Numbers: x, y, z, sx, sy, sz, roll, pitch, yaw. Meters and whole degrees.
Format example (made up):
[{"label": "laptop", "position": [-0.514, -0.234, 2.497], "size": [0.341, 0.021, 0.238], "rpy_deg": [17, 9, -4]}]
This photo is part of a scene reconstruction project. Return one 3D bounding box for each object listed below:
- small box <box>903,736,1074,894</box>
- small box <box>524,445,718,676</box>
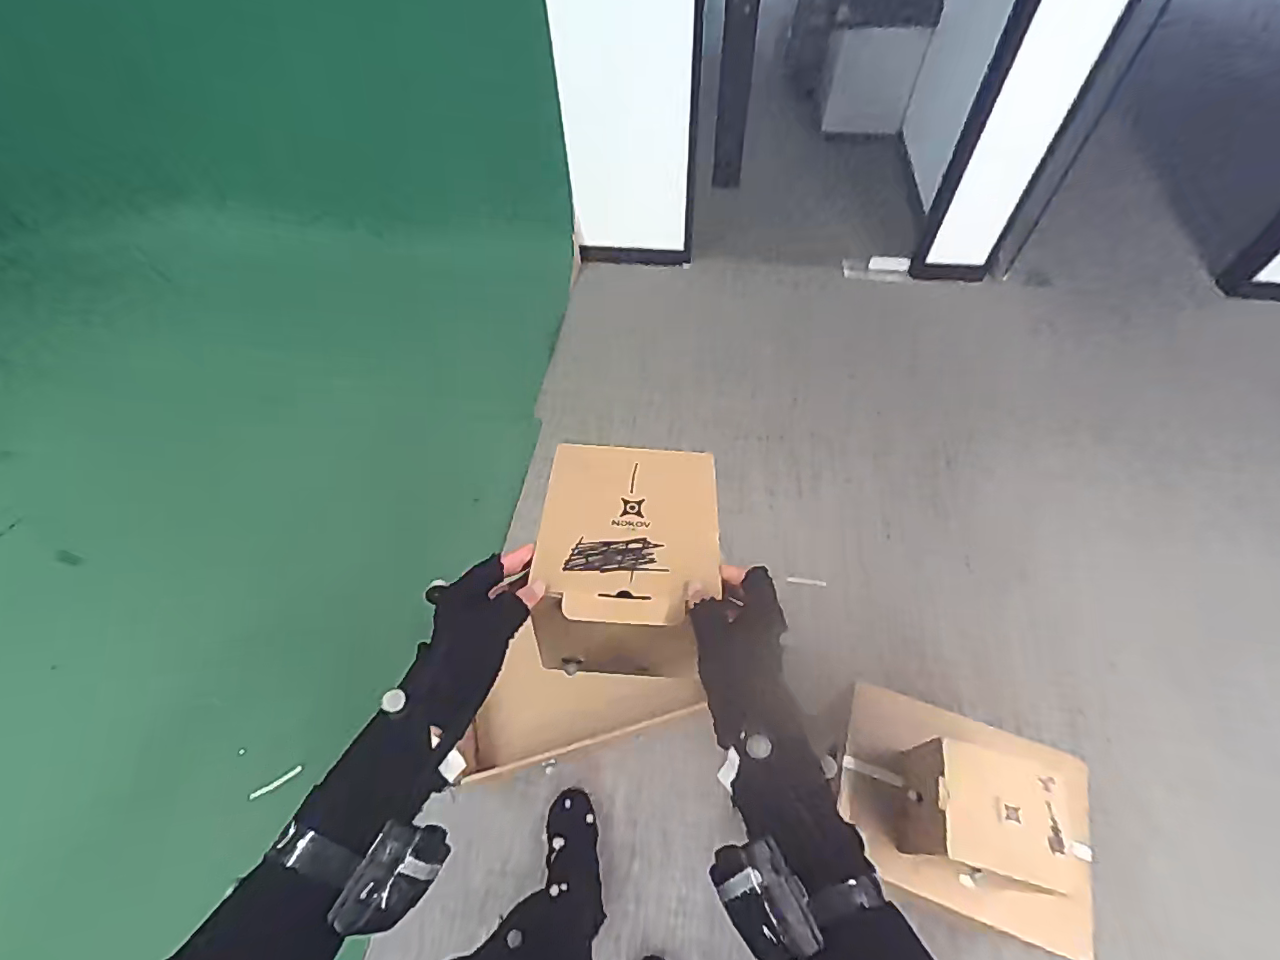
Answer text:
[{"label": "small box", "position": [0.534, 0.530, 0.860], "size": [0.179, 0.176, 0.168], "rpy_deg": [12, 57, 11]}, {"label": "small box", "position": [-0.013, 0.087, 0.559], "size": [0.168, 0.176, 0.179], "rpy_deg": [4, 48, 0]}]
